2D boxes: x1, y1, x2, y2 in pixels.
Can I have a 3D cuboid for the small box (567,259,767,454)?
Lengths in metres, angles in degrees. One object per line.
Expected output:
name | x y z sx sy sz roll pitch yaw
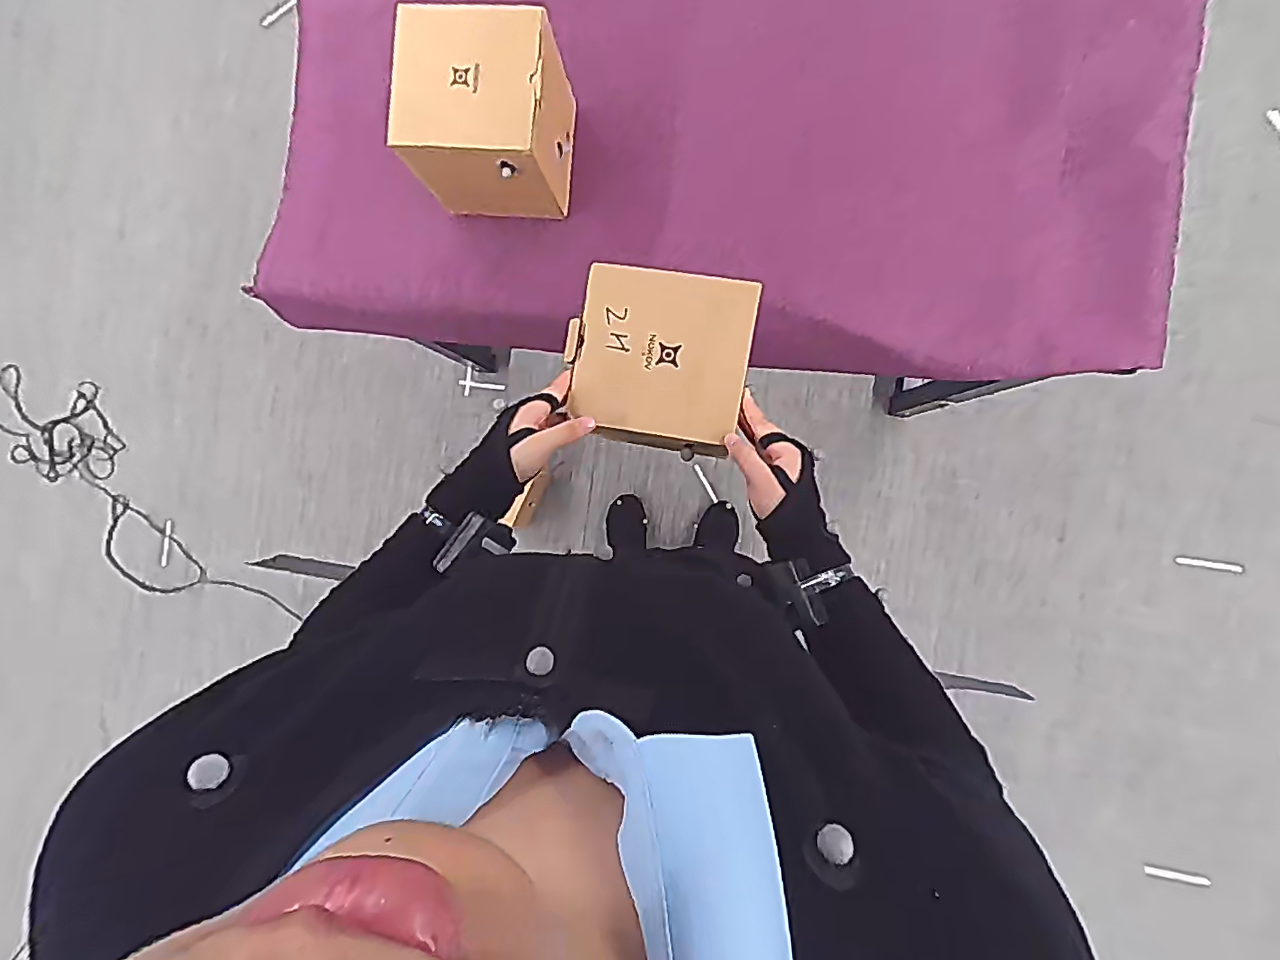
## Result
small box | 0.035 -0.126 0.616 0.179 0.176 0.168 10 89 8

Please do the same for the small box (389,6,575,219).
small box | -0.192 -0.459 0.698 0.179 0.176 0.168 5 90 4
